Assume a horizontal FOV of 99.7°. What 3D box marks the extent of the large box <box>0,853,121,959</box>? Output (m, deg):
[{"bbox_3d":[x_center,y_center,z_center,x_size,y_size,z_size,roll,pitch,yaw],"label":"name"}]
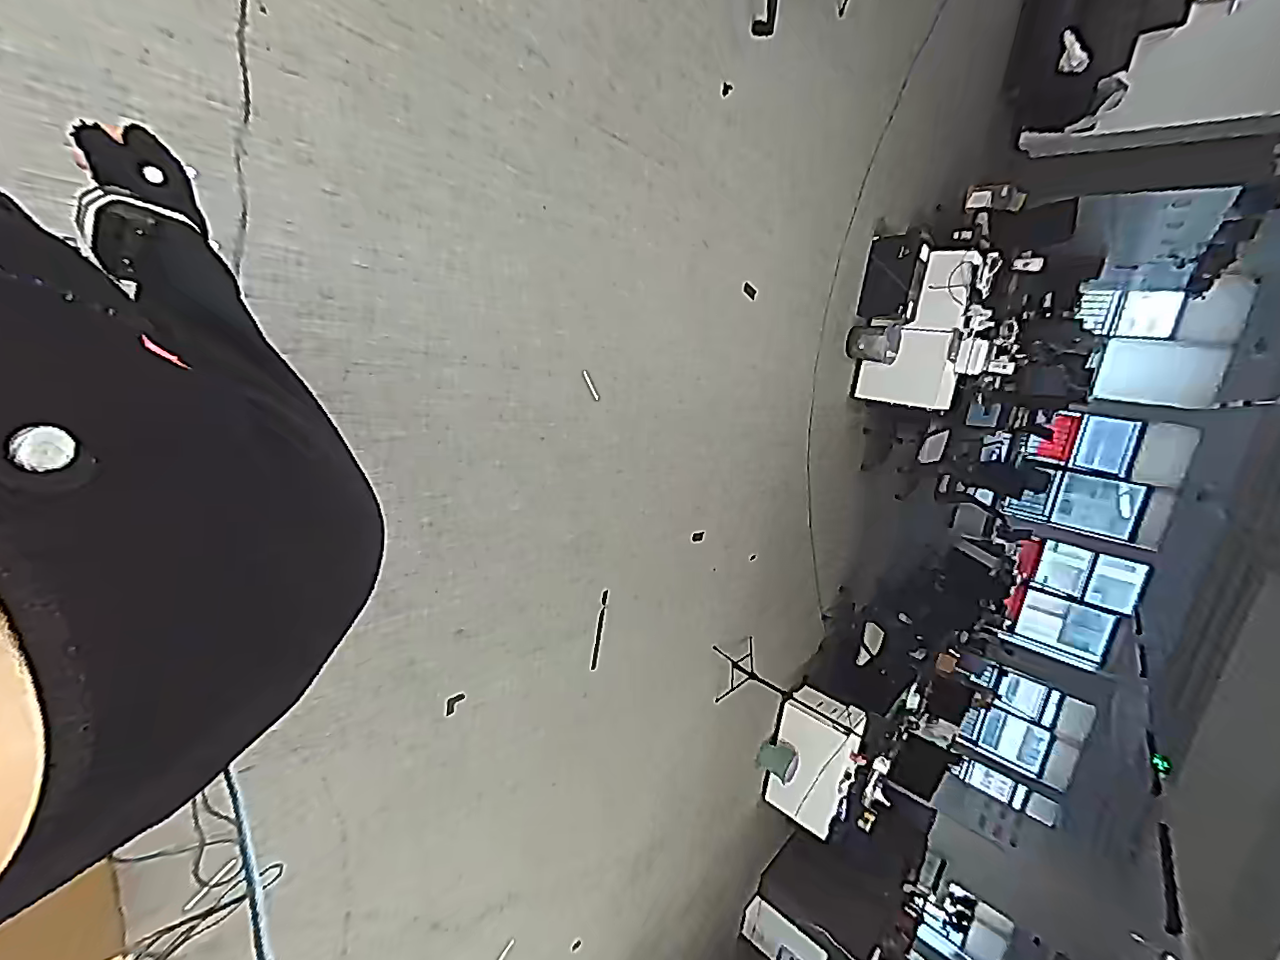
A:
[{"bbox_3d":[-1.308,1.065,1.060,0.408,0.320,0.320,-7,109,-49],"label":"large box"}]
